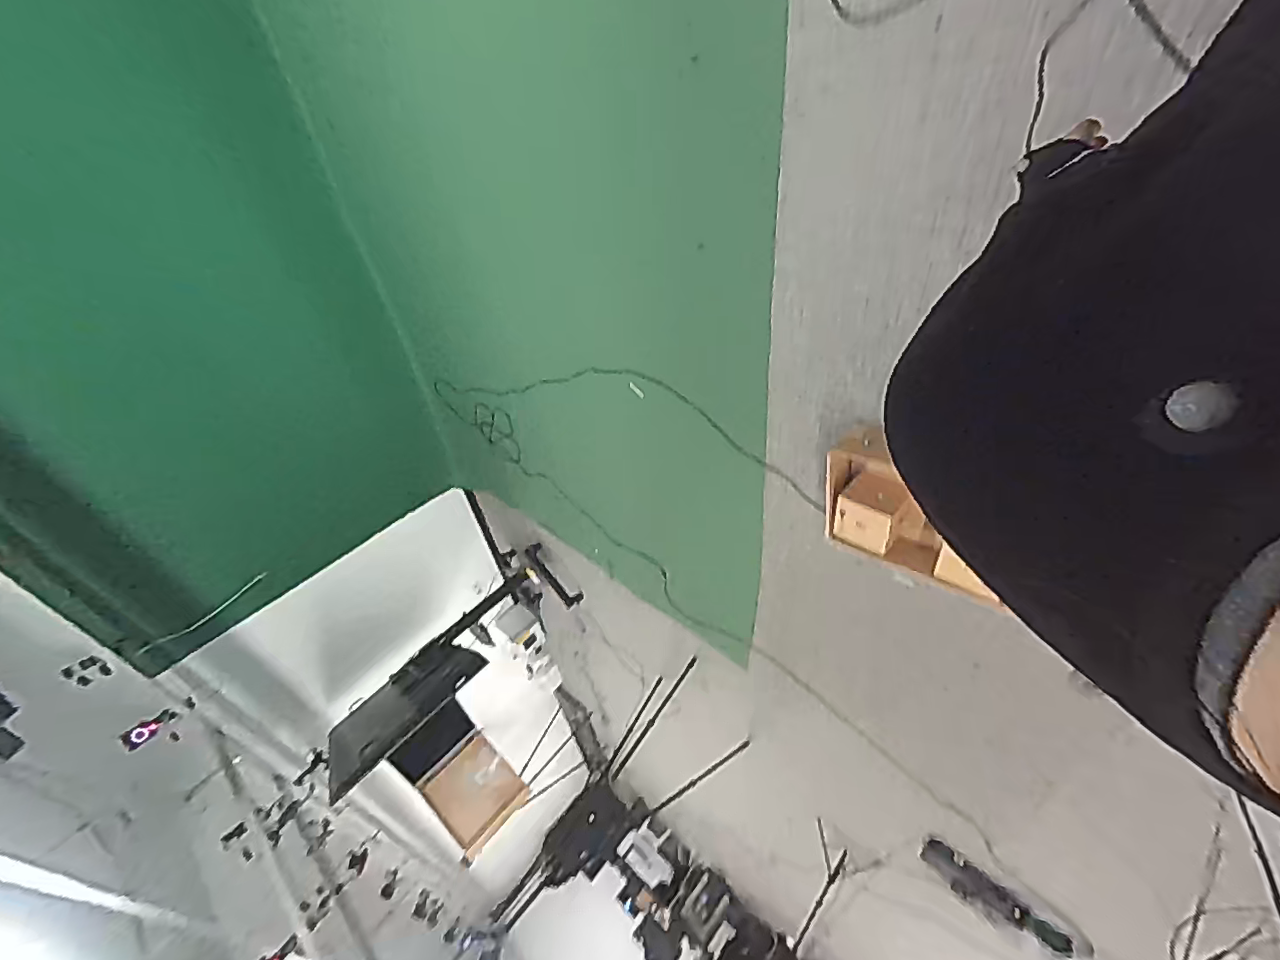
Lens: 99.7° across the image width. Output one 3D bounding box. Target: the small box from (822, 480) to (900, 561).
[{"bbox_3d":[0.716,0.123,1.753,0.179,0.176,0.168,26,138,34],"label":"small box"}]
